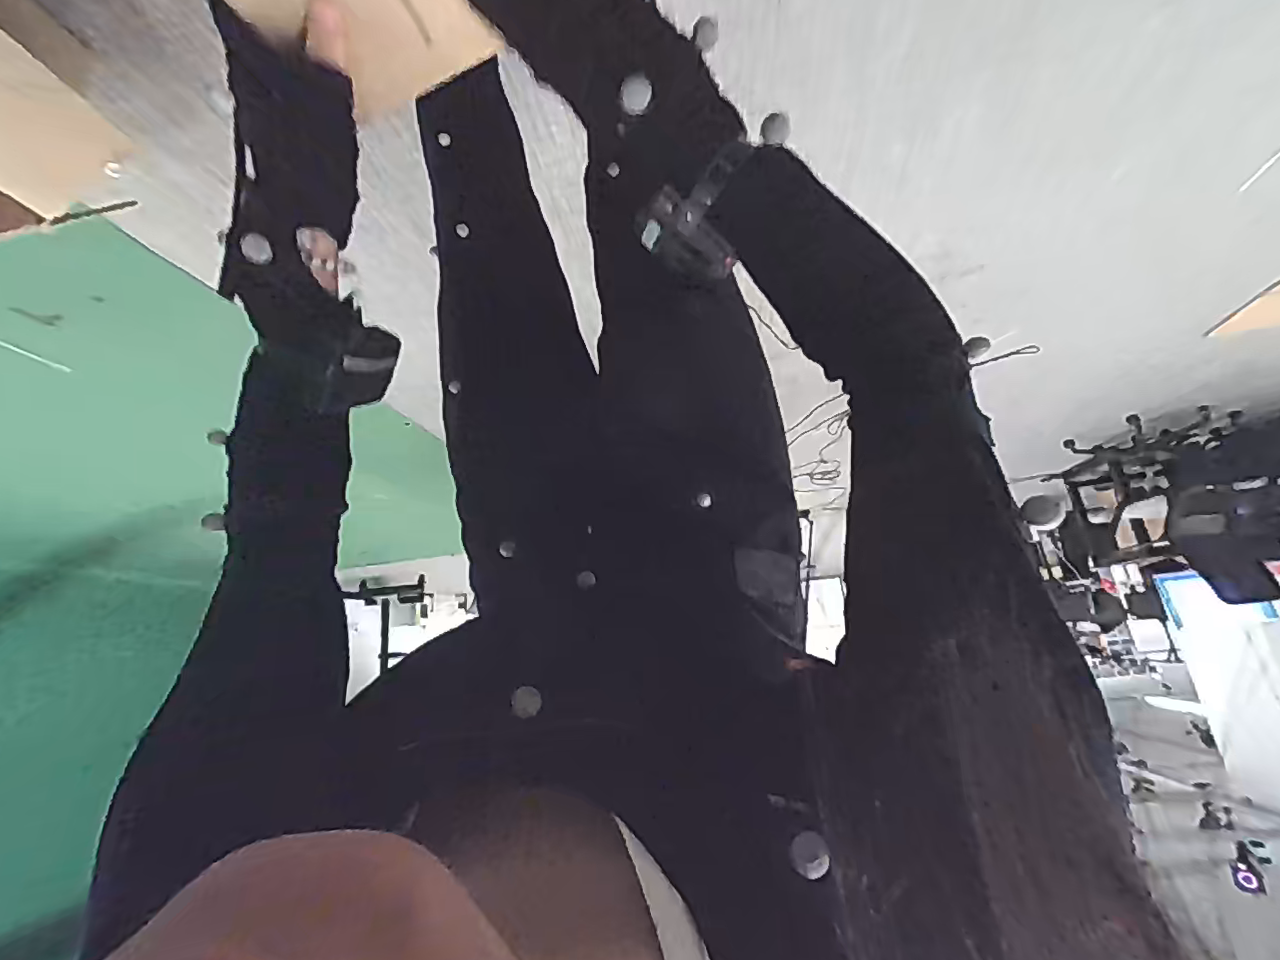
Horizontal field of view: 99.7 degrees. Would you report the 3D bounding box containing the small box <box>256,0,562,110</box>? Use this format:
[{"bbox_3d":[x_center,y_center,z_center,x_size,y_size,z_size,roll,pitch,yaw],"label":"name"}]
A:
[{"bbox_3d":[-0.155,-0.362,0.286,0.168,0.176,0.179,-18,163,13],"label":"small box"}]
